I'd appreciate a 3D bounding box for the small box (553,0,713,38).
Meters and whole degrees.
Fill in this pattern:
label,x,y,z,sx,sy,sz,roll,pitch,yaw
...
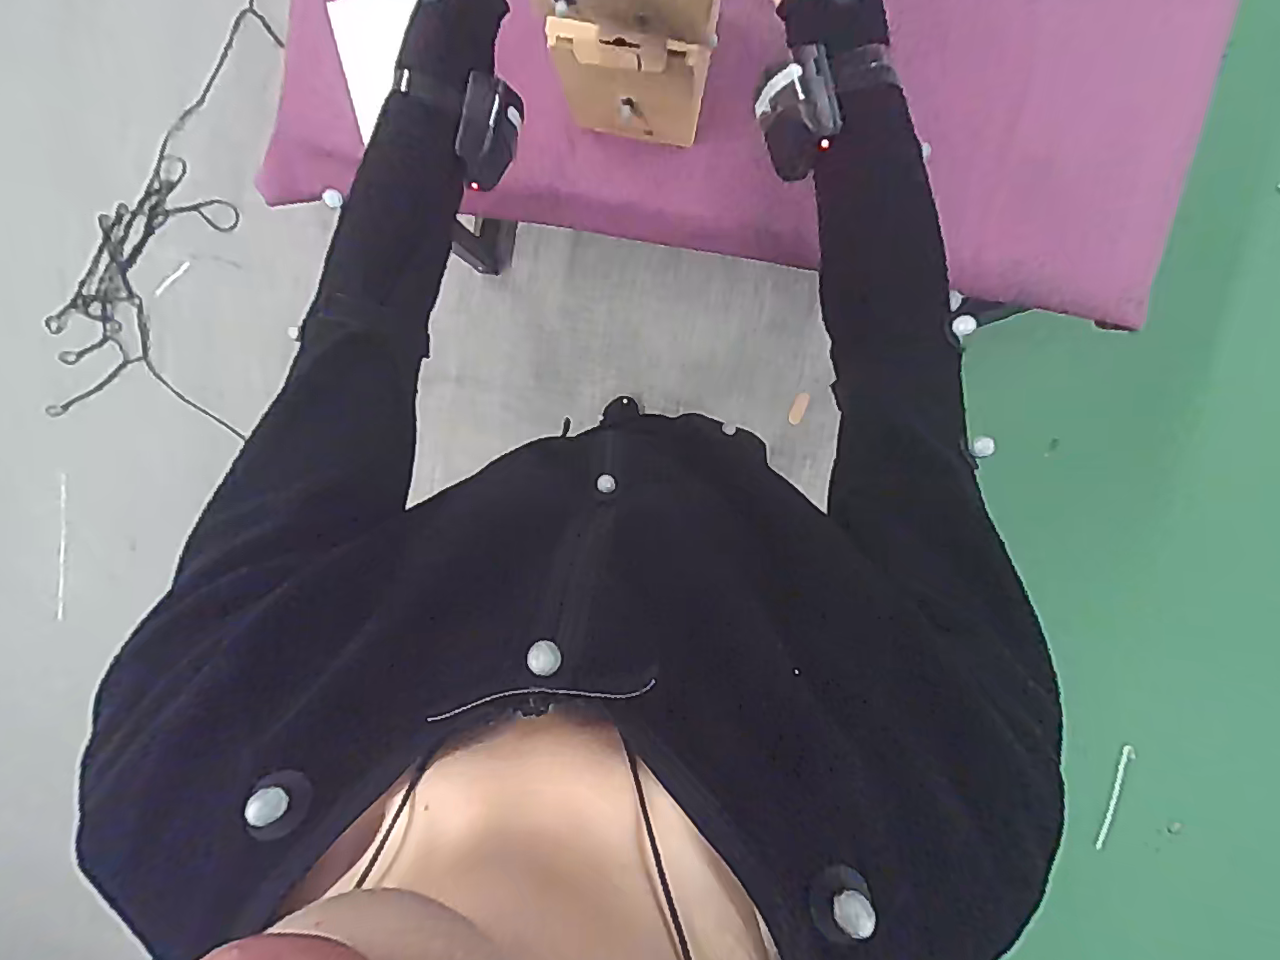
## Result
label,x,y,z,sx,sy,sz,roll,pitch,yaw
small box,-0.005,-0.500,0.423,0.168,0.176,0.179,10,99,-2

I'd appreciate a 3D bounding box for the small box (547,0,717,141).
label,x,y,z,sx,sy,sz,roll,pitch,yaw
small box,0.000,-0.545,0.650,0.168,0.176,0.179,11,97,3
